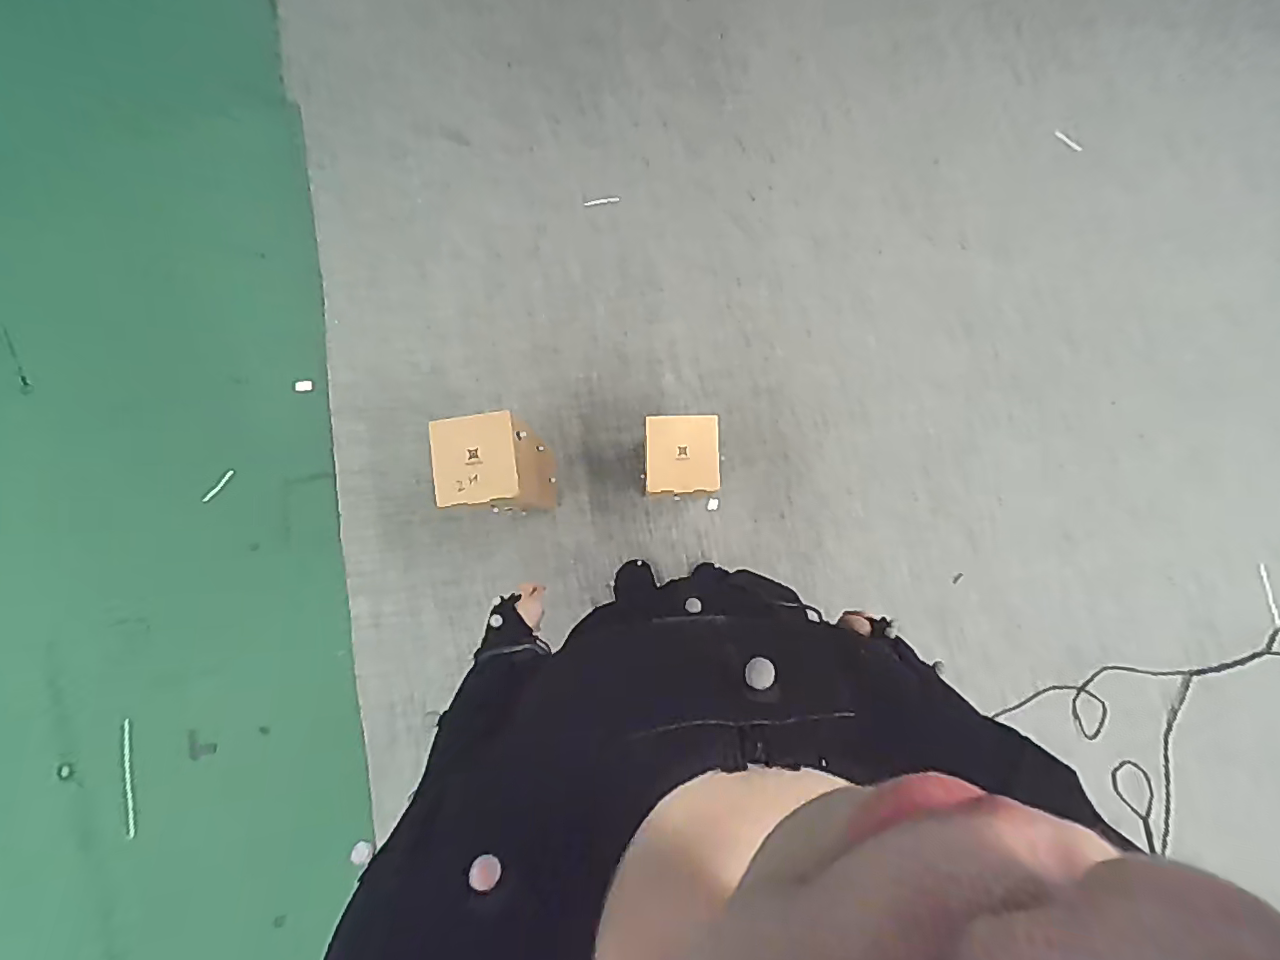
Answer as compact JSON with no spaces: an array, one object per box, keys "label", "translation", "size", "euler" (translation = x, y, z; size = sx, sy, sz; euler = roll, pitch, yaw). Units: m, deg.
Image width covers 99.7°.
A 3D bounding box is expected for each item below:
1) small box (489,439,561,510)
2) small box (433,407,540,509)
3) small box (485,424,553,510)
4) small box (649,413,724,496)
[{"label":"small box","translation":[-0.311,-0.010,1.455],"size":[0.168,0.176,0.179],"euler":[-5,85,1]},{"label":"small box","translation":[-0.314,-0.039,1.129],"size":[0.168,0.176,0.179],"euler":[-8,84,2]},{"label":"small box","translation":[-0.312,-0.025,1.293],"size":[0.168,0.176,0.179],"euler":[-8,85,2]},{"label":"small box","translation":[0.106,-0.054,1.285],"size":[0.168,0.176,0.179],"euler":[-1,85,2]}]
